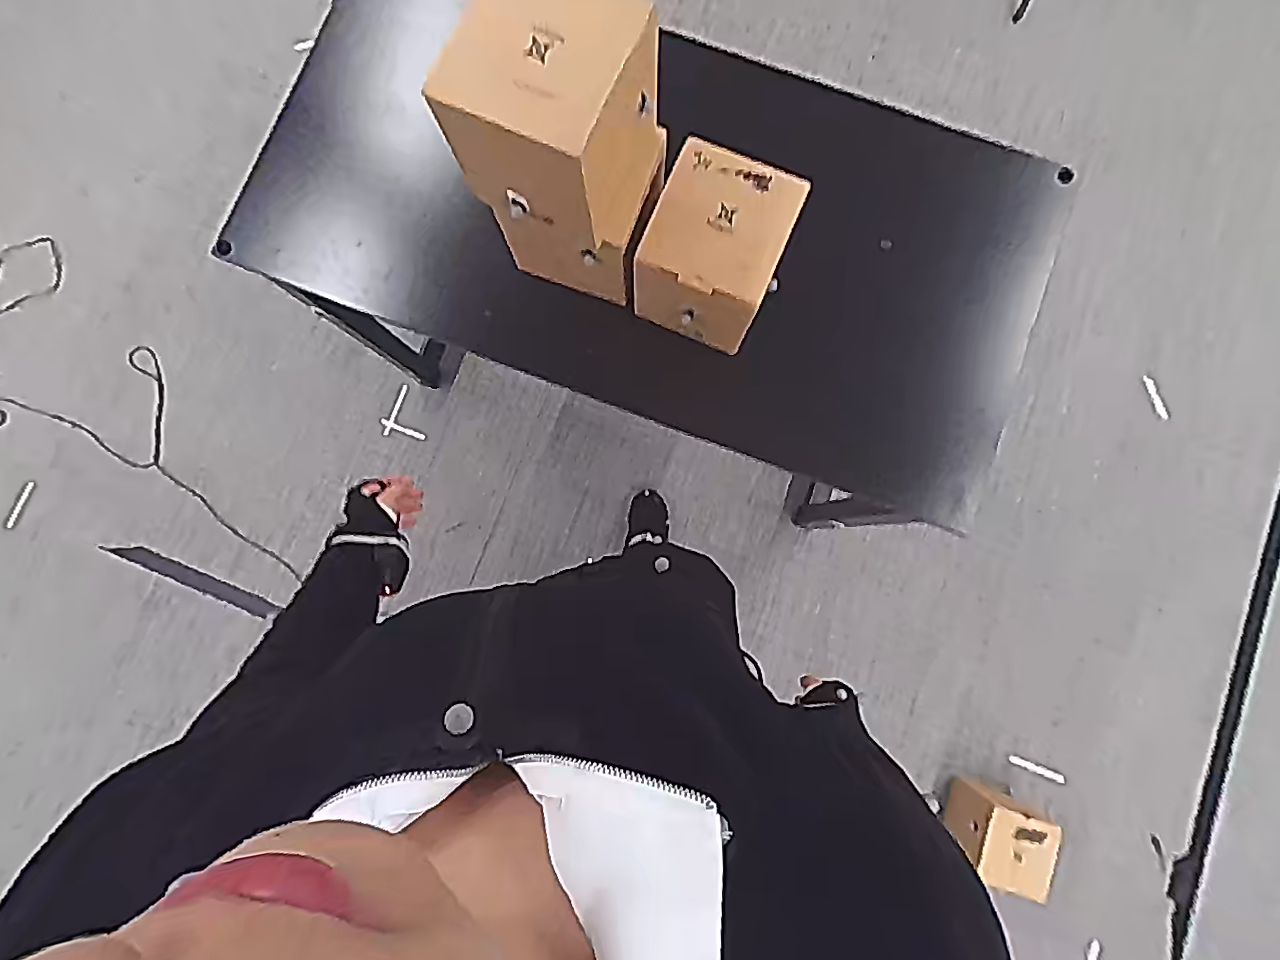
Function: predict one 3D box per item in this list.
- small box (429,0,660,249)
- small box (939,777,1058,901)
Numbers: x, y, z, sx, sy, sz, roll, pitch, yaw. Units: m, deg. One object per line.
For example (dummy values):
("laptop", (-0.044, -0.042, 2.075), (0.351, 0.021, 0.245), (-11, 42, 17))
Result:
("small box", (-0.089, -0.393, 0.585), (0.168, 0.176, 0.179), (24, 85, 4))
("small box", (0.876, 0.876, 1.339), (0.168, 0.176, 0.179), (18, 85, 2))
